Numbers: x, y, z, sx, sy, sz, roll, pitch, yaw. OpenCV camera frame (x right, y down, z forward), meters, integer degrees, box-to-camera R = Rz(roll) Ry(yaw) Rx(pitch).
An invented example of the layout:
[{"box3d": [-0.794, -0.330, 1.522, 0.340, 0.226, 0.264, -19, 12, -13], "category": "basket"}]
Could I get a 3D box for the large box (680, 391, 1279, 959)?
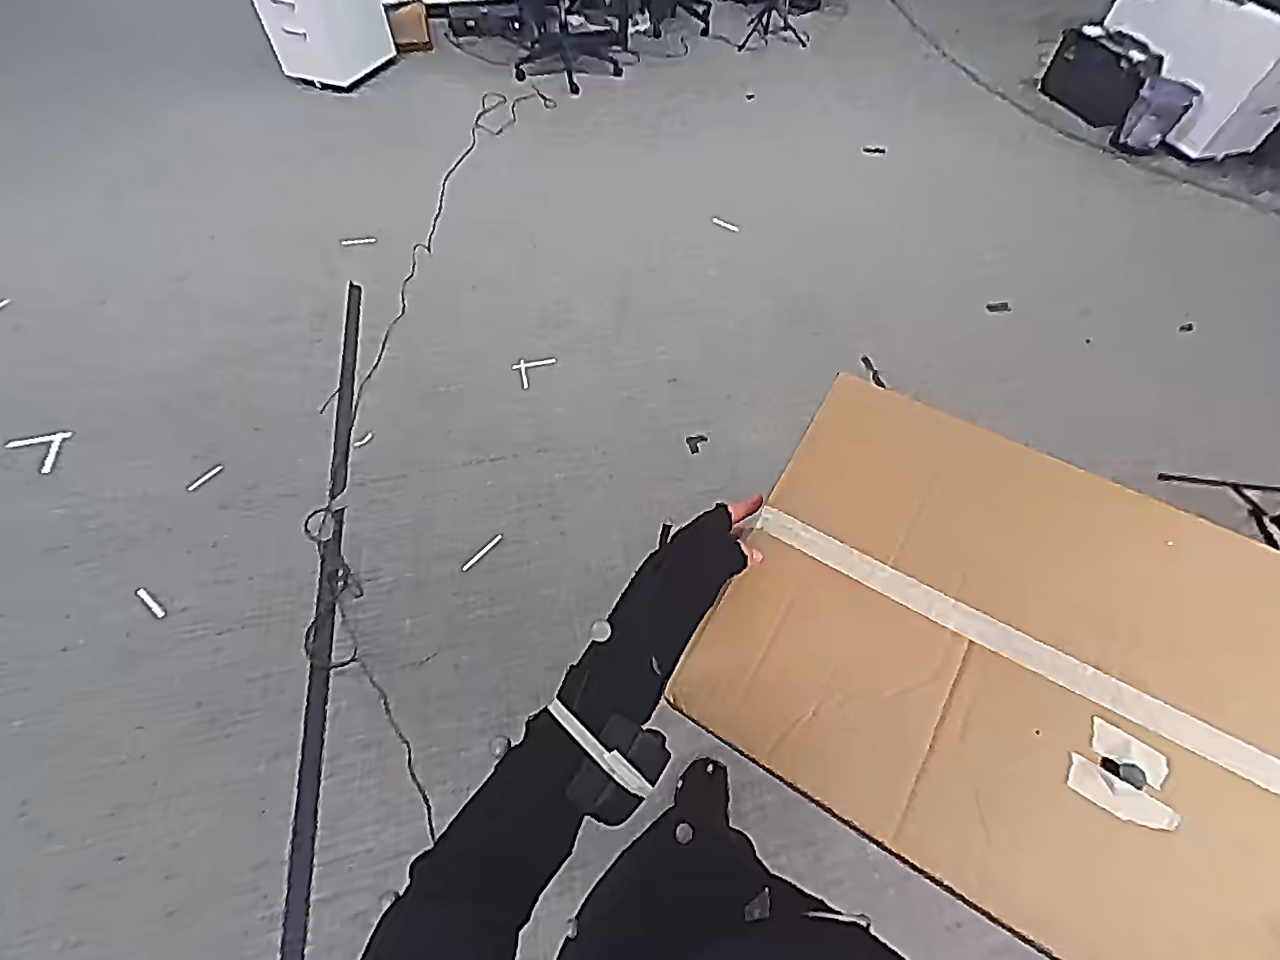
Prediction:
[{"box3d": [0.284, 0.184, 0.521, 0.408, 0.320, 0.320, 28, 72, 17], "category": "large box"}]
